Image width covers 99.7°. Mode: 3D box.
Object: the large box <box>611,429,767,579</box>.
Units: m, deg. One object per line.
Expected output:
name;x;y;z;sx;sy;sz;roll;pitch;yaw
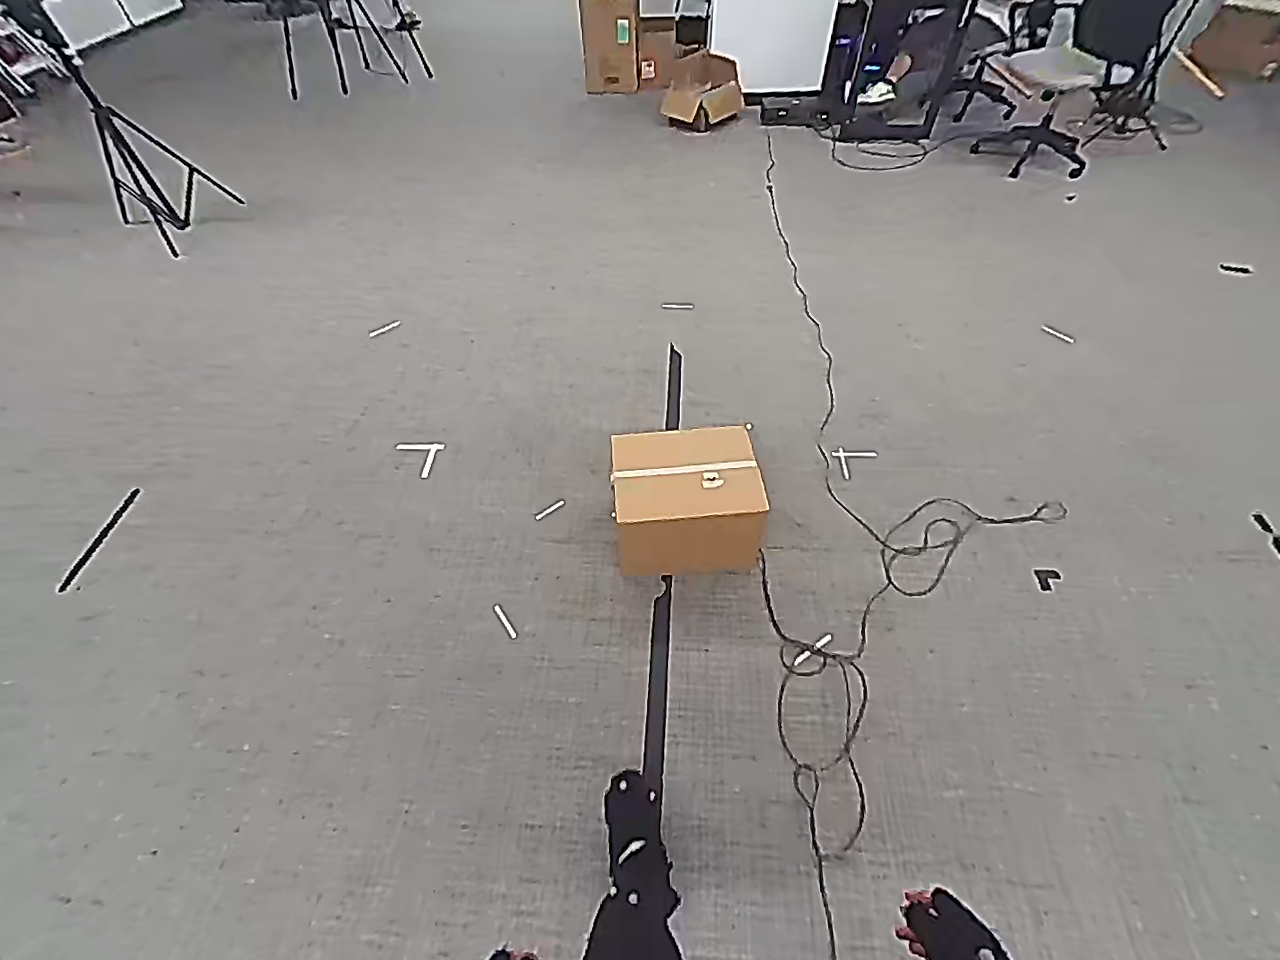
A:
large box;0.128;0.076;1.619;0.408;0.320;0.320;-4;51;-2
